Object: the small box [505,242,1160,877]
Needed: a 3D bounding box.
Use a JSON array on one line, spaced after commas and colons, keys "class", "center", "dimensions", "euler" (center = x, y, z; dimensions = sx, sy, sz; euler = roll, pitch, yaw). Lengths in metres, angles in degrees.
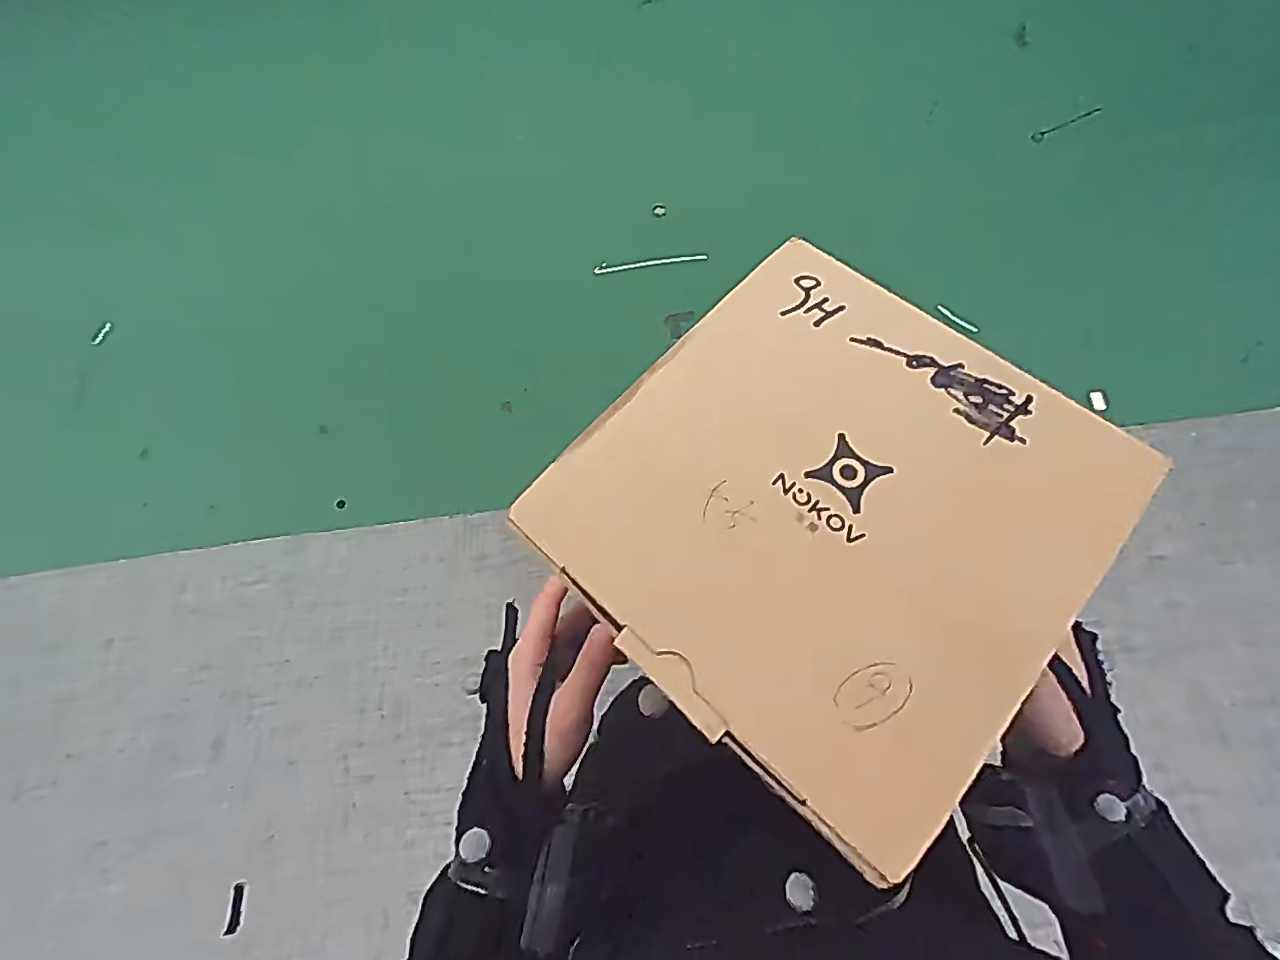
[{"class": "small box", "center": [0.071, 0.034, 0.268], "dimensions": [0.168, 0.176, 0.179], "euler": [41, 76, 17]}]
